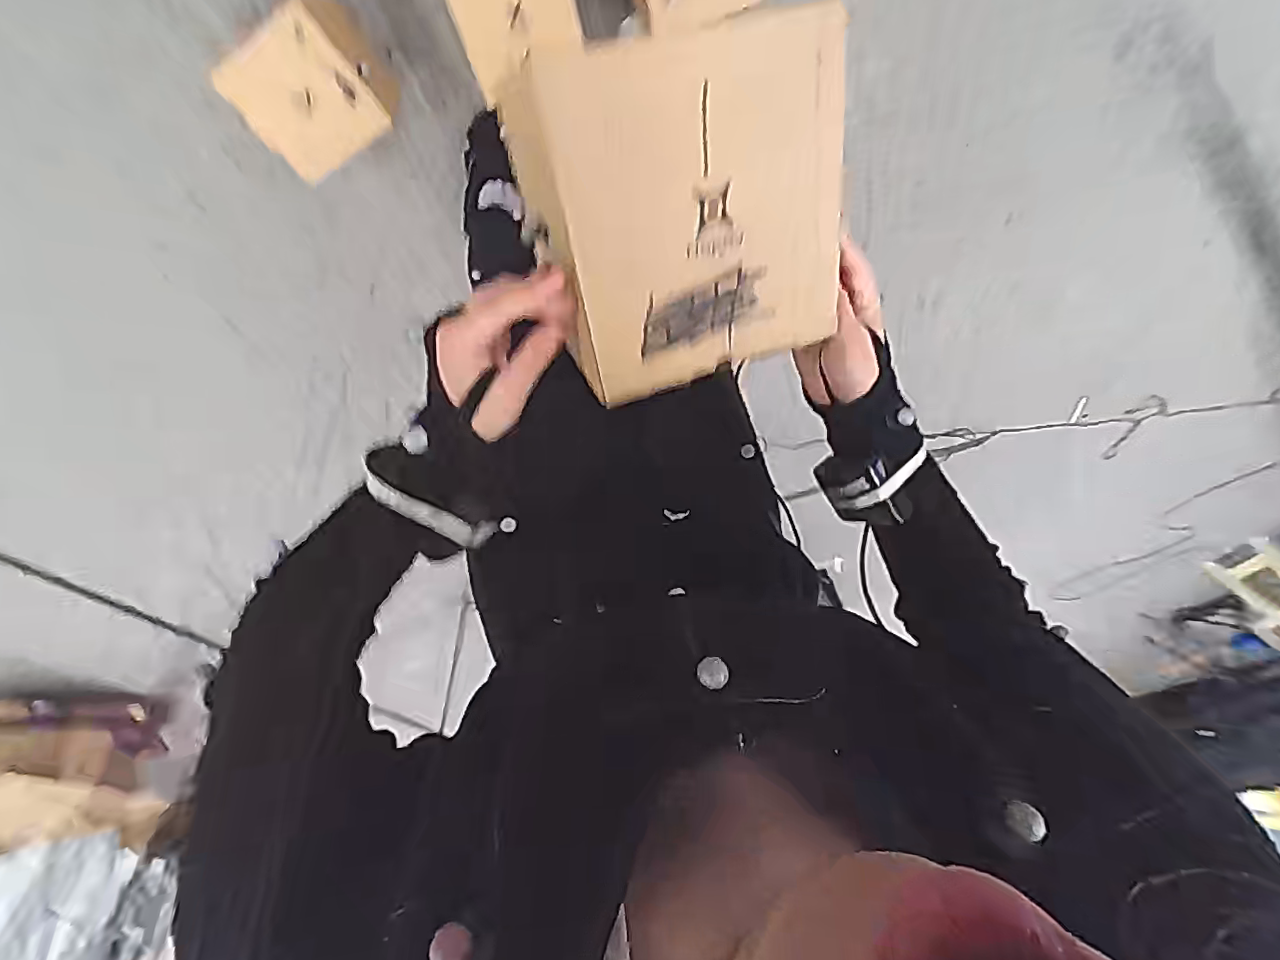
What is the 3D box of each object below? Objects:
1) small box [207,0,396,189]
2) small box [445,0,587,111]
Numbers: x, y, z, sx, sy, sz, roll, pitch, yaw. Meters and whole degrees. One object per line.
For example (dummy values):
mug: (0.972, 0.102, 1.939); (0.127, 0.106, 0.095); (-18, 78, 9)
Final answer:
small box: (-0.504, -0.599, 0.835); (0.179, 0.176, 0.168); (-26, 139, 15)
small box: (-0.190, -0.696, 0.809); (0.168, 0.176, 0.179); (-16, 140, 3)
